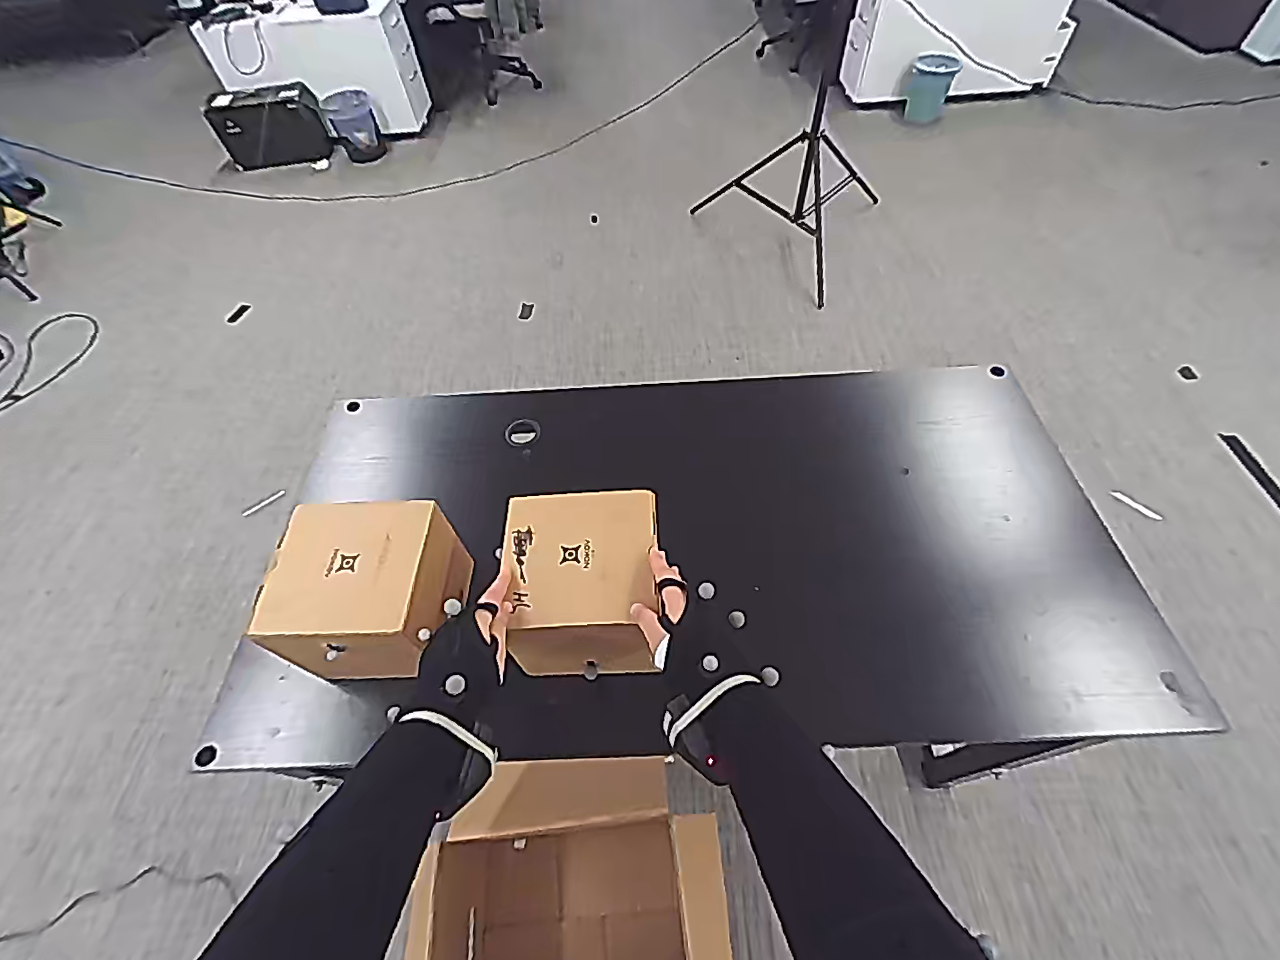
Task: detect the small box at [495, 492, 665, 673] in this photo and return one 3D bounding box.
[{"bbox_3d":[-0.061,0.130,0.661,0.179,0.176,0.168,-2,54,1],"label":"small box"}]

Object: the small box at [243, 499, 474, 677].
[{"bbox_3d":[-0.326,0.139,0.670,0.179,0.176,0.168,-2,56,1],"label":"small box"}]
